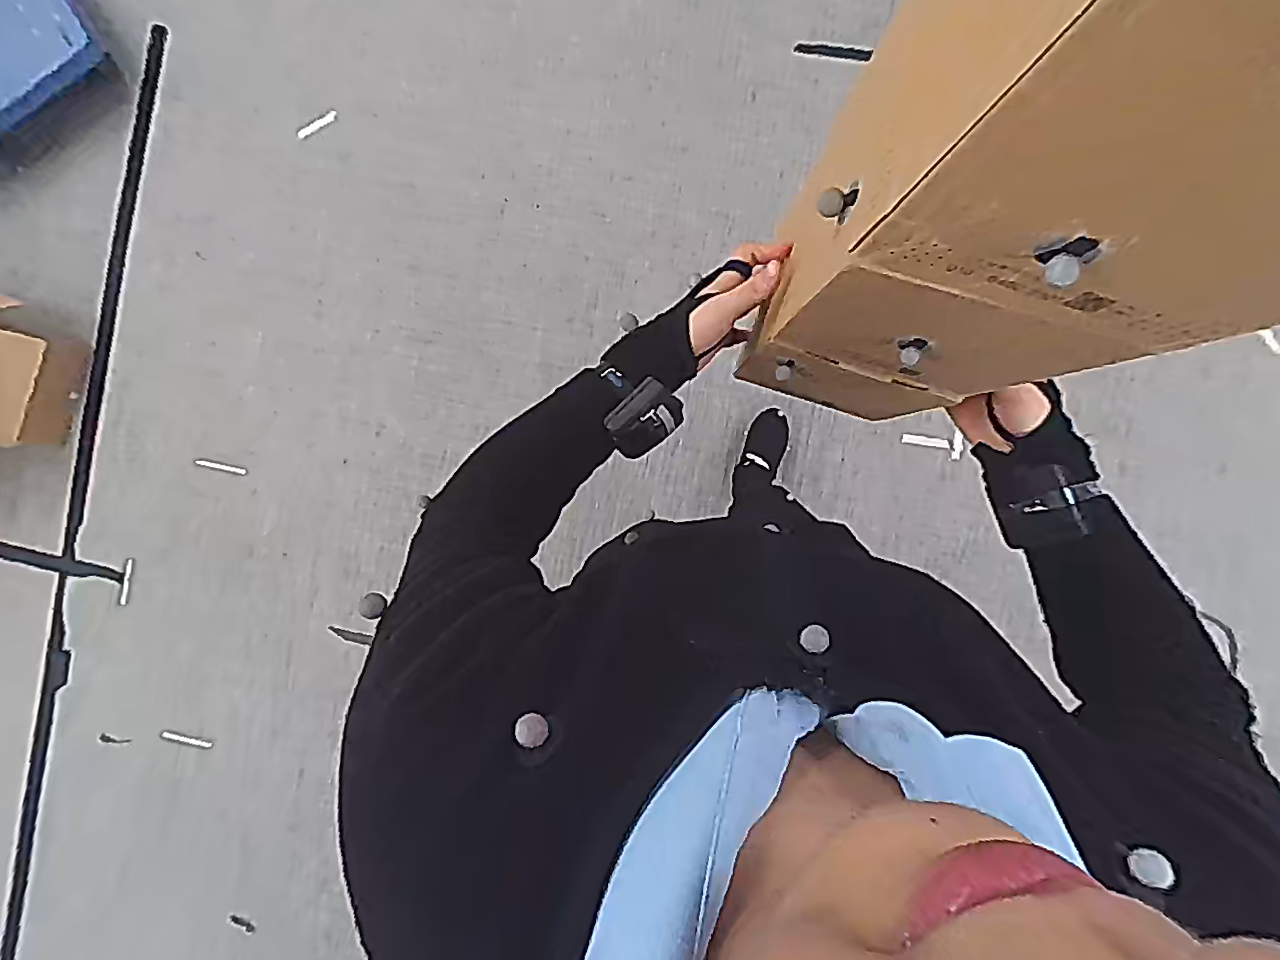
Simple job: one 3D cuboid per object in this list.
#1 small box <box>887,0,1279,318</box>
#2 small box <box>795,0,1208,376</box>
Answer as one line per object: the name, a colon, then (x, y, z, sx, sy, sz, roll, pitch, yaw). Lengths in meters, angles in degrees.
small box: (0.208, -0.176, 0.172, 0.168, 0.176, 0.179, 15, 91, 0)
small box: (0.212, -0.177, 0.335, 0.168, 0.176, 0.179, 16, 90, -1)
